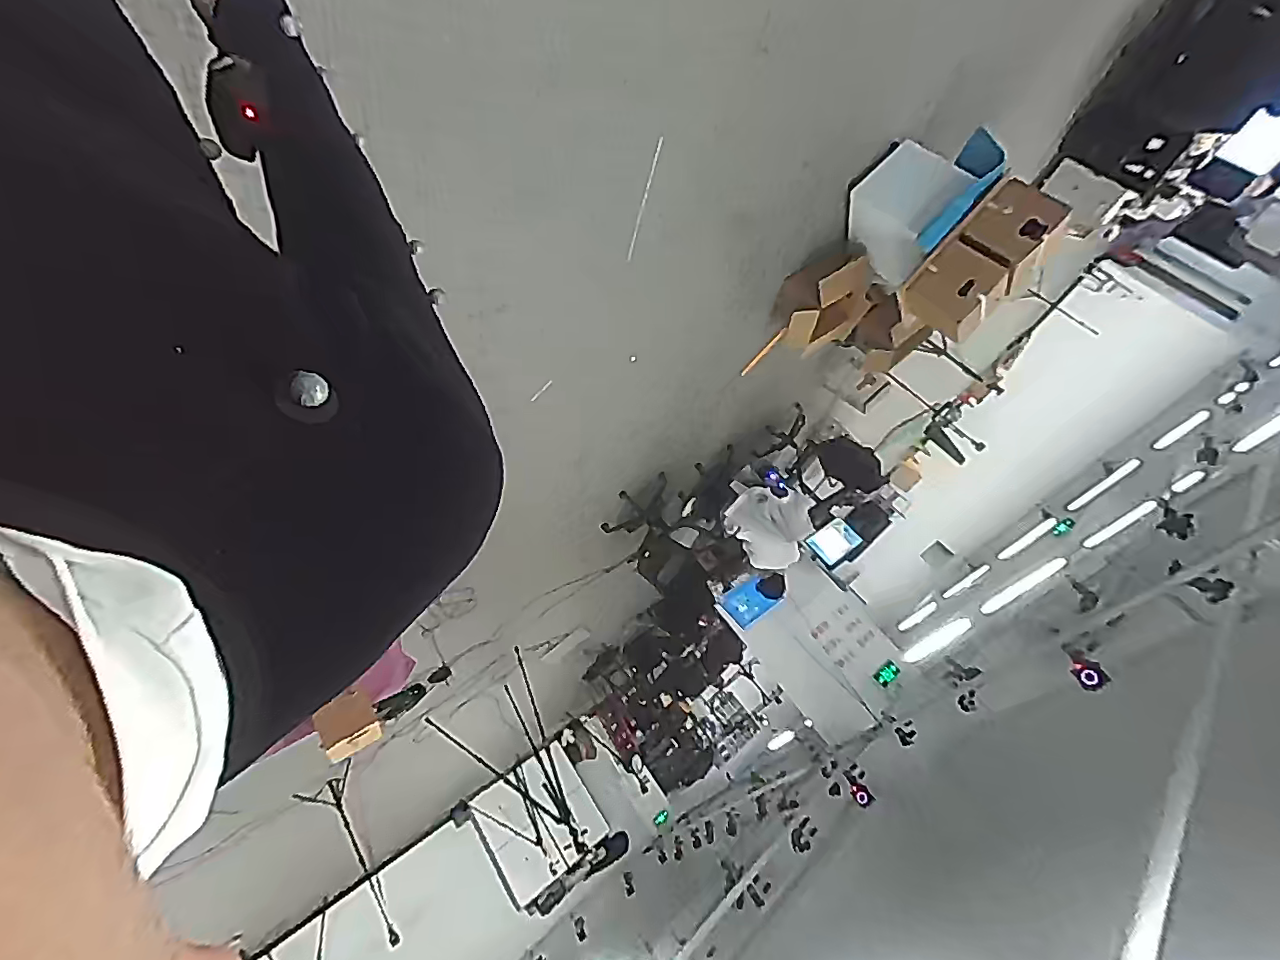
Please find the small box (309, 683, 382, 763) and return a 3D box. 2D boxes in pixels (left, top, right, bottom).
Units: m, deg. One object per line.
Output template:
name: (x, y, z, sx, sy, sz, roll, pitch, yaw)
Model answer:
small box: (-1.005, 0.822, 1.843, 0.168, 0.176, 0.179, -23, 152, -34)
